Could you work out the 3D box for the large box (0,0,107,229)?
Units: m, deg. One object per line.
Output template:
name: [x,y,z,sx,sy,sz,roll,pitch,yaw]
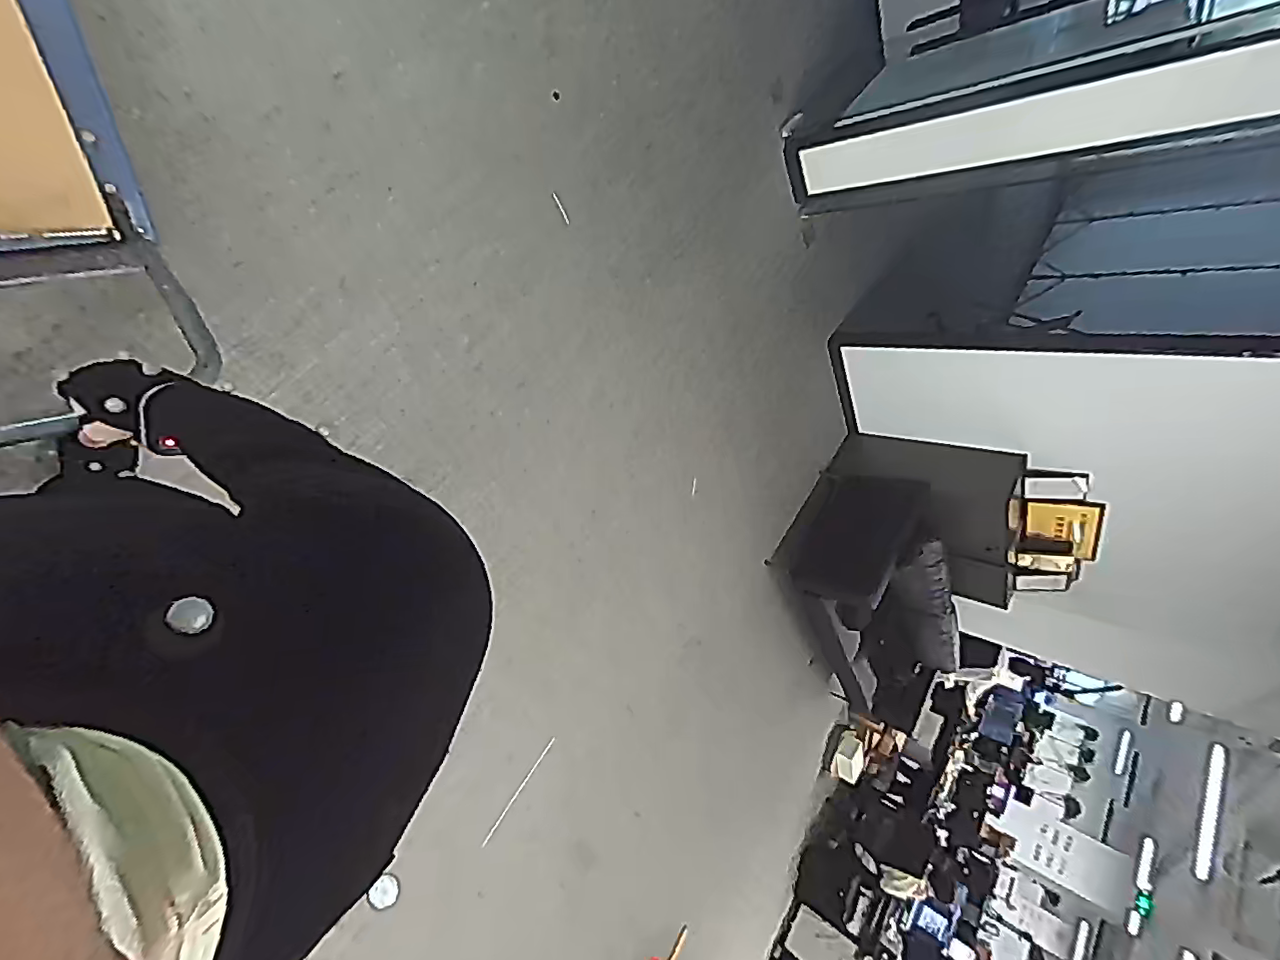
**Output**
large box: [-0.990,-0.558,0.691,0.320,0.320,0.408,-26,135,-37]
